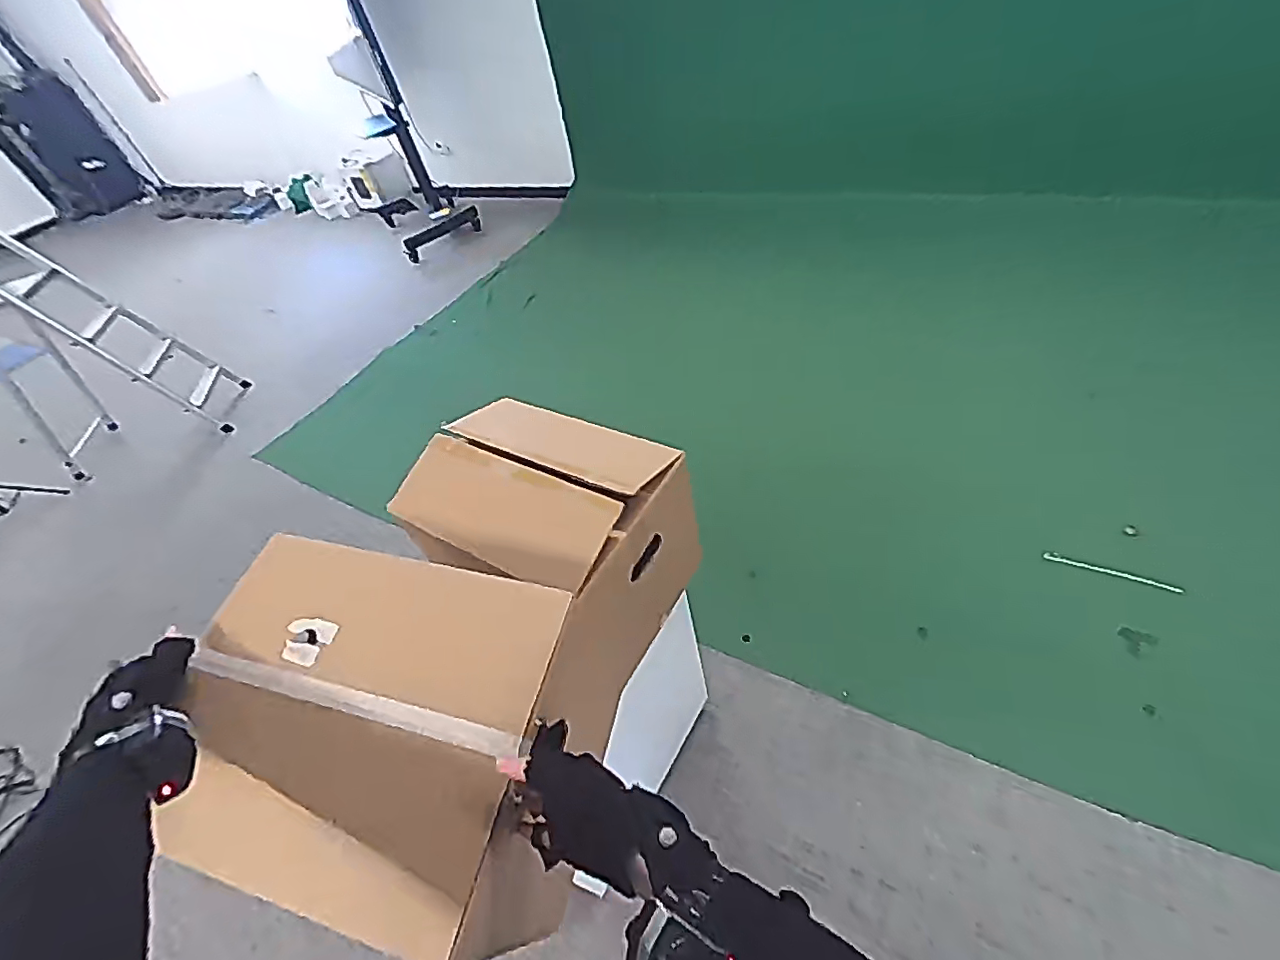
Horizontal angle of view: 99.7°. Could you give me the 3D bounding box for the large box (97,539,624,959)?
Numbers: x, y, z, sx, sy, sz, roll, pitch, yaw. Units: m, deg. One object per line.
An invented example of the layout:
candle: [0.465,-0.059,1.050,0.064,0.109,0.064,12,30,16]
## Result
large box: [-0.269,0.299,0.659,0.408,0.320,0.320,7,57,16]
